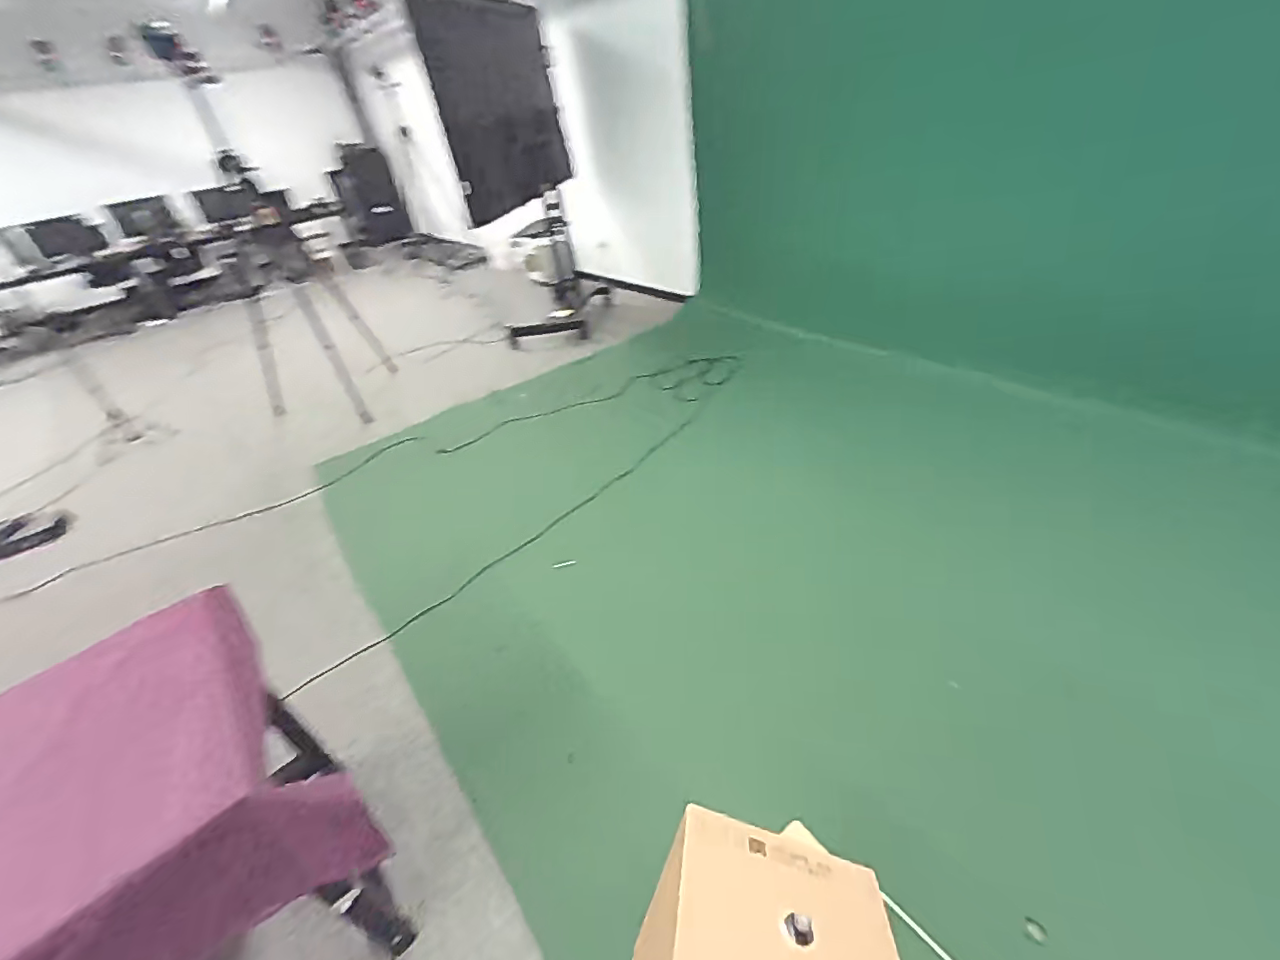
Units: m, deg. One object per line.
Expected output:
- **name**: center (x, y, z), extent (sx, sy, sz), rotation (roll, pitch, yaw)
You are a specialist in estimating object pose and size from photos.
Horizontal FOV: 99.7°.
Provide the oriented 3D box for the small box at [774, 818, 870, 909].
- **small box**: center (0.298, 0.792, 1.011), extent (0.179, 0.176, 0.168), rotation (-29, 39, -24)
